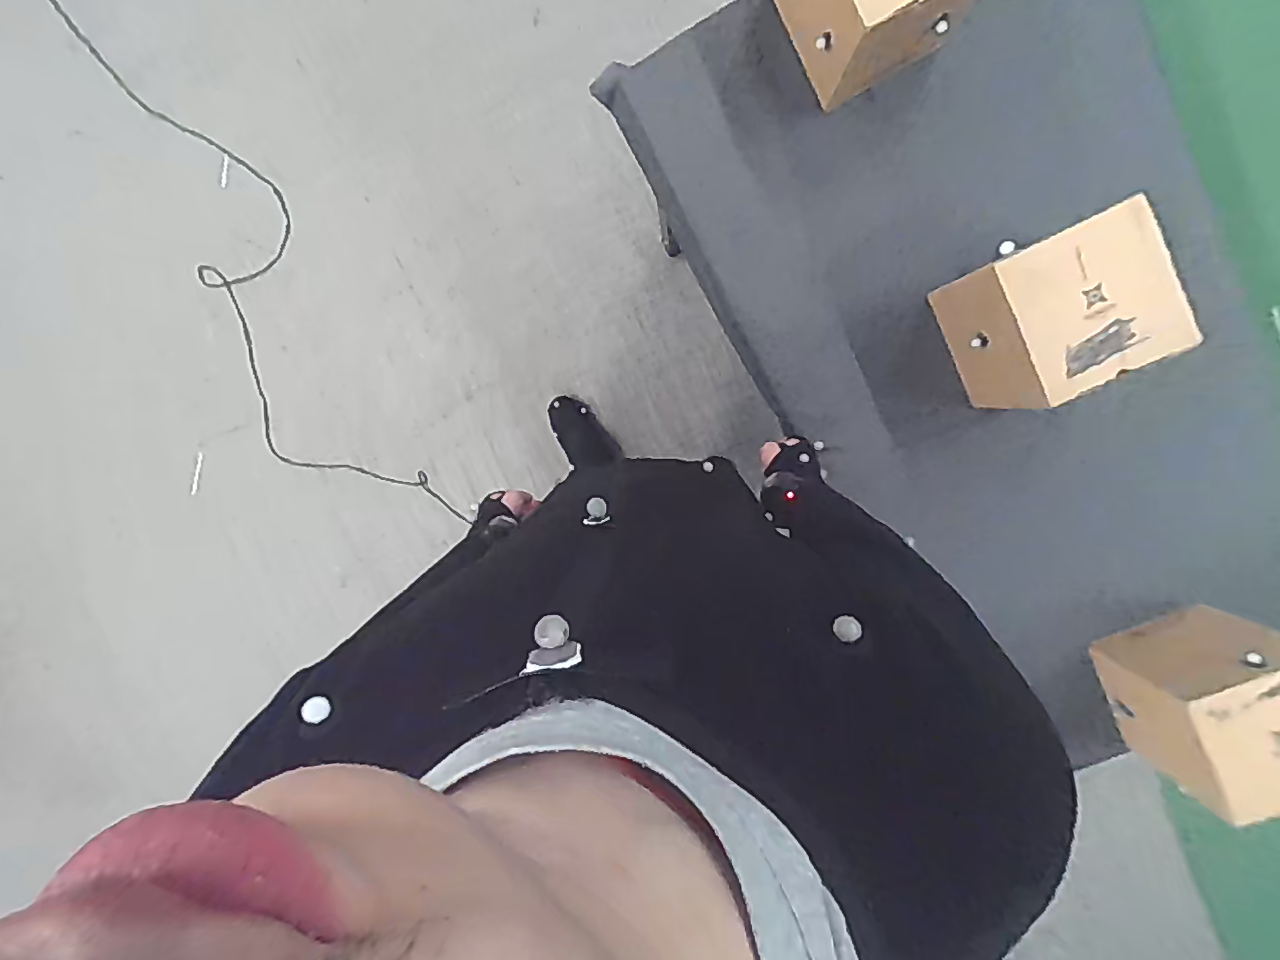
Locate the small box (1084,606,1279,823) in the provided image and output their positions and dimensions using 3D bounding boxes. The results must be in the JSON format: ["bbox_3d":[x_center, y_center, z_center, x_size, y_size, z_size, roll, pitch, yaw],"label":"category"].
[{"bbox_3d":[0.752,0.297,0.717,0.168,0.176,0.179,-25,96,6],"label":"small box"}]

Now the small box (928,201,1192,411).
[{"bbox_3d":[0.497,-0.198,0.668,0.168,0.176,0.179,-25,95,6],"label":"small box"}]

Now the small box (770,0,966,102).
[{"bbox_3d":[0.272,-0.589,0.629,0.168,0.176,0.179,-28,94,5],"label":"small box"}]
